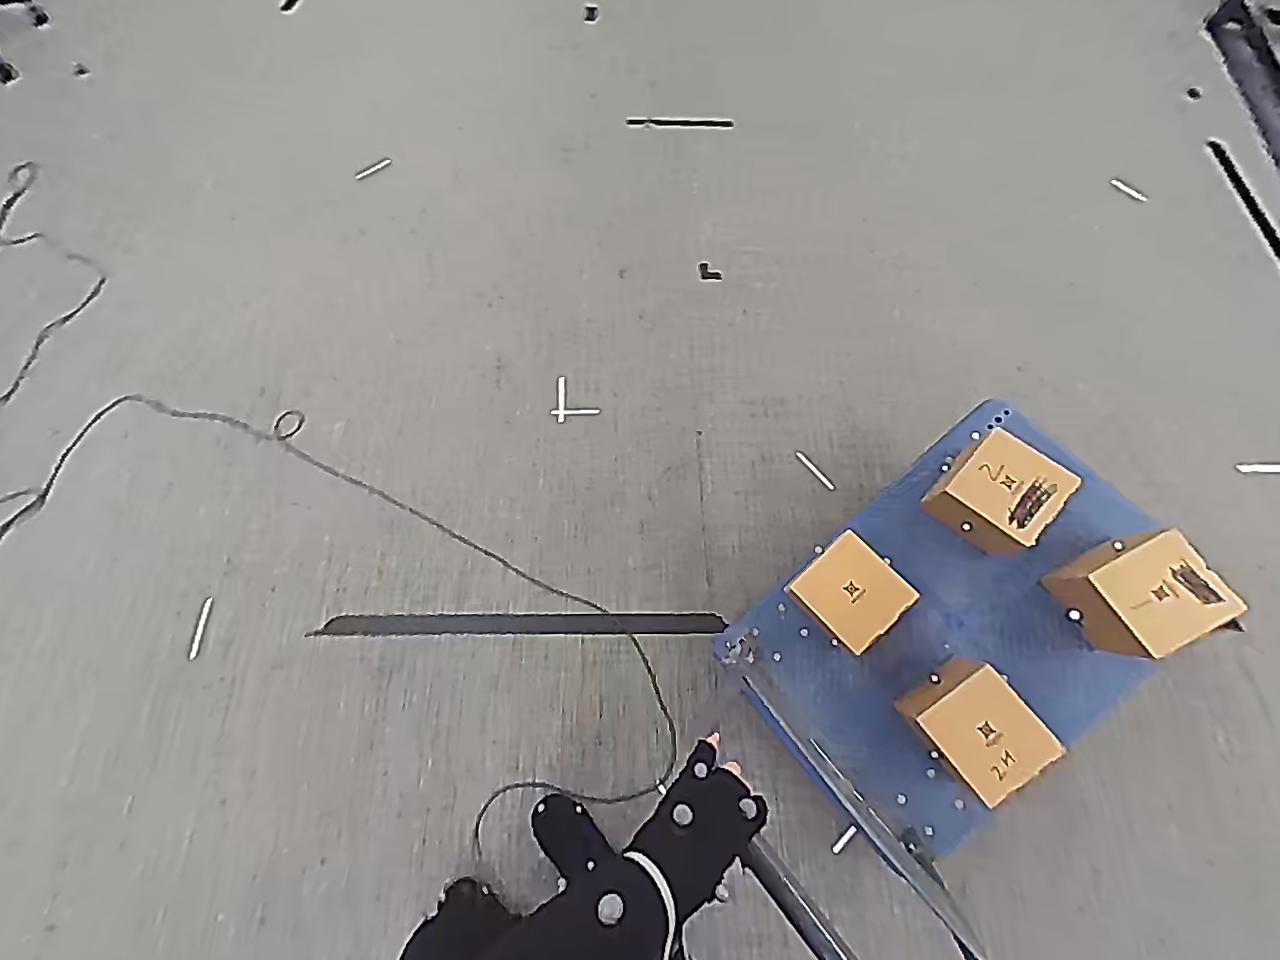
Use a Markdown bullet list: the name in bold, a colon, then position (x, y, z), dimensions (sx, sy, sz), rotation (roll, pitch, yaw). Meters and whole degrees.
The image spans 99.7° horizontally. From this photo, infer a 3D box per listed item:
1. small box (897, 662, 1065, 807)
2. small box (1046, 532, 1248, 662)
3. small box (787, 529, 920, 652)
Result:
- **small box**: position (0.616, 0.457, 1.008), dimensions (0.168, 0.176, 0.179), rotation (-37, 73, 1)
- **small box**: position (0.921, 0.215, 1.005), dimensions (0.179, 0.176, 0.168), rotation (-31, 73, 4)
- **small box**: position (0.420, 0.225, 1.101), dimensions (0.168, 0.176, 0.179), rotation (-43, 75, -1)
